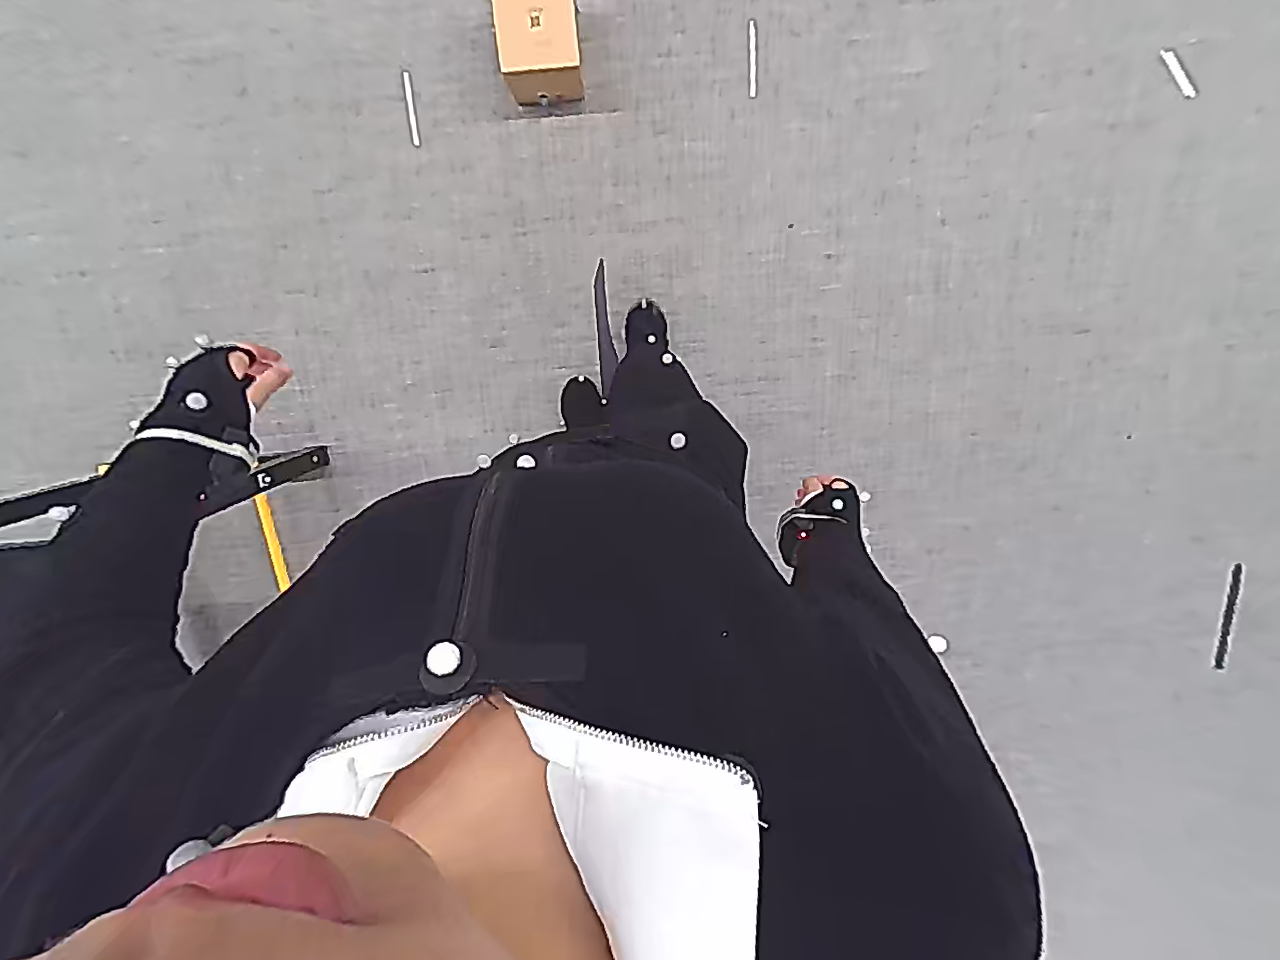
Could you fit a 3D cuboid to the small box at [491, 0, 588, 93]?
[{"bbox_3d":[-0.198,-0.911,1.077,0.168,0.176,0.179,-6,107,1],"label":"small box"}]
